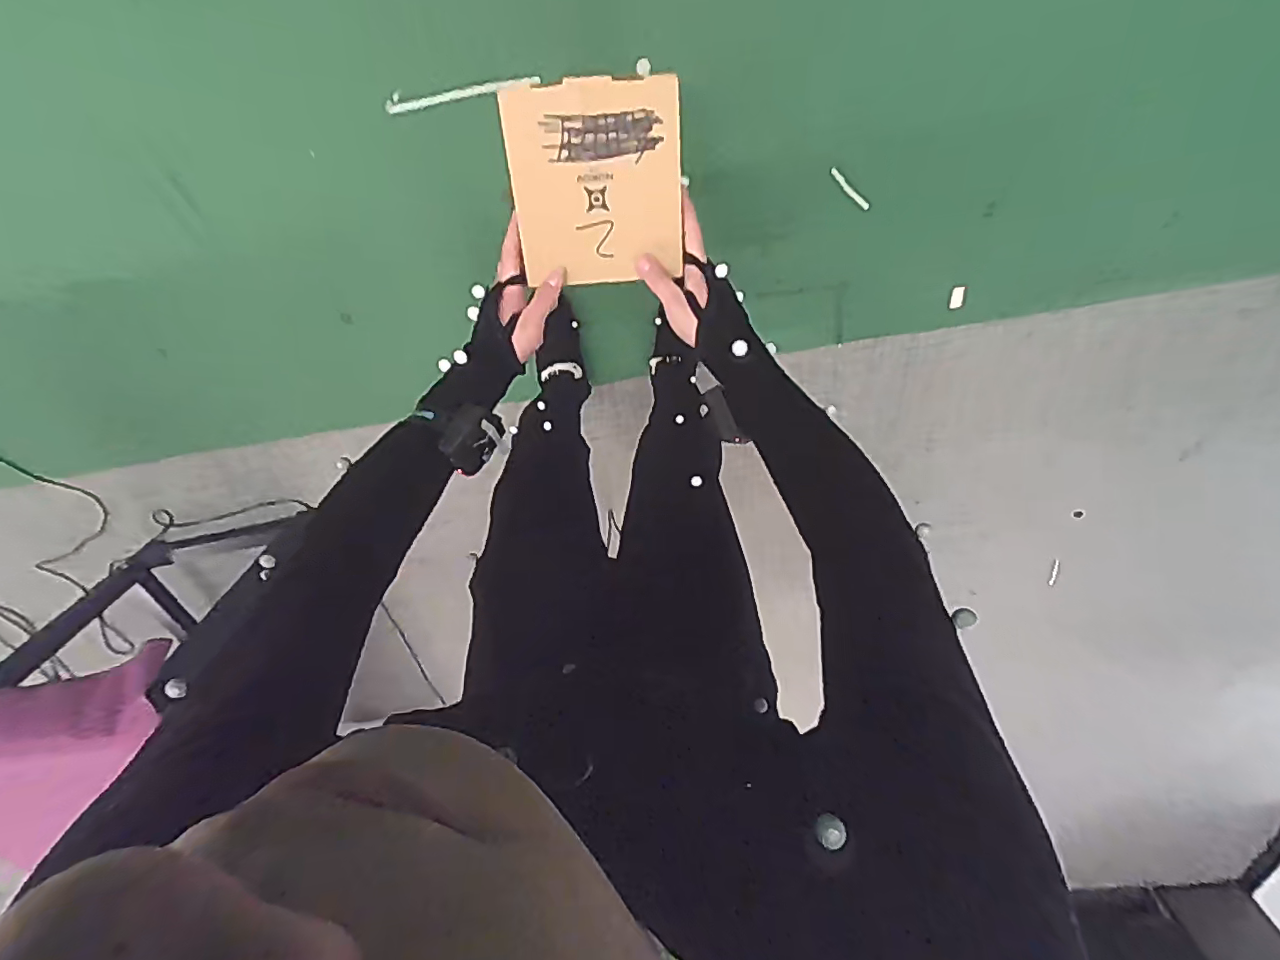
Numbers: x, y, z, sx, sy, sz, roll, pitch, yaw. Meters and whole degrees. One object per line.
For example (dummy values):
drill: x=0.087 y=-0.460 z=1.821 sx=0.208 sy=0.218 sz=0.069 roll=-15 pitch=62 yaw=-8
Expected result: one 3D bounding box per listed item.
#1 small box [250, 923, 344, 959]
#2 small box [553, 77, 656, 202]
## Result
small box: x=-0.920 y=1.302 z=1.427 sx=0.179 sy=0.176 sz=0.168 roll=-11 pitch=122 yaw=8
small box: x=-0.062 y=-0.650 z=1.042 sx=0.168 sy=0.176 sz=0.179 roll=-7 pitch=122 yaw=5
